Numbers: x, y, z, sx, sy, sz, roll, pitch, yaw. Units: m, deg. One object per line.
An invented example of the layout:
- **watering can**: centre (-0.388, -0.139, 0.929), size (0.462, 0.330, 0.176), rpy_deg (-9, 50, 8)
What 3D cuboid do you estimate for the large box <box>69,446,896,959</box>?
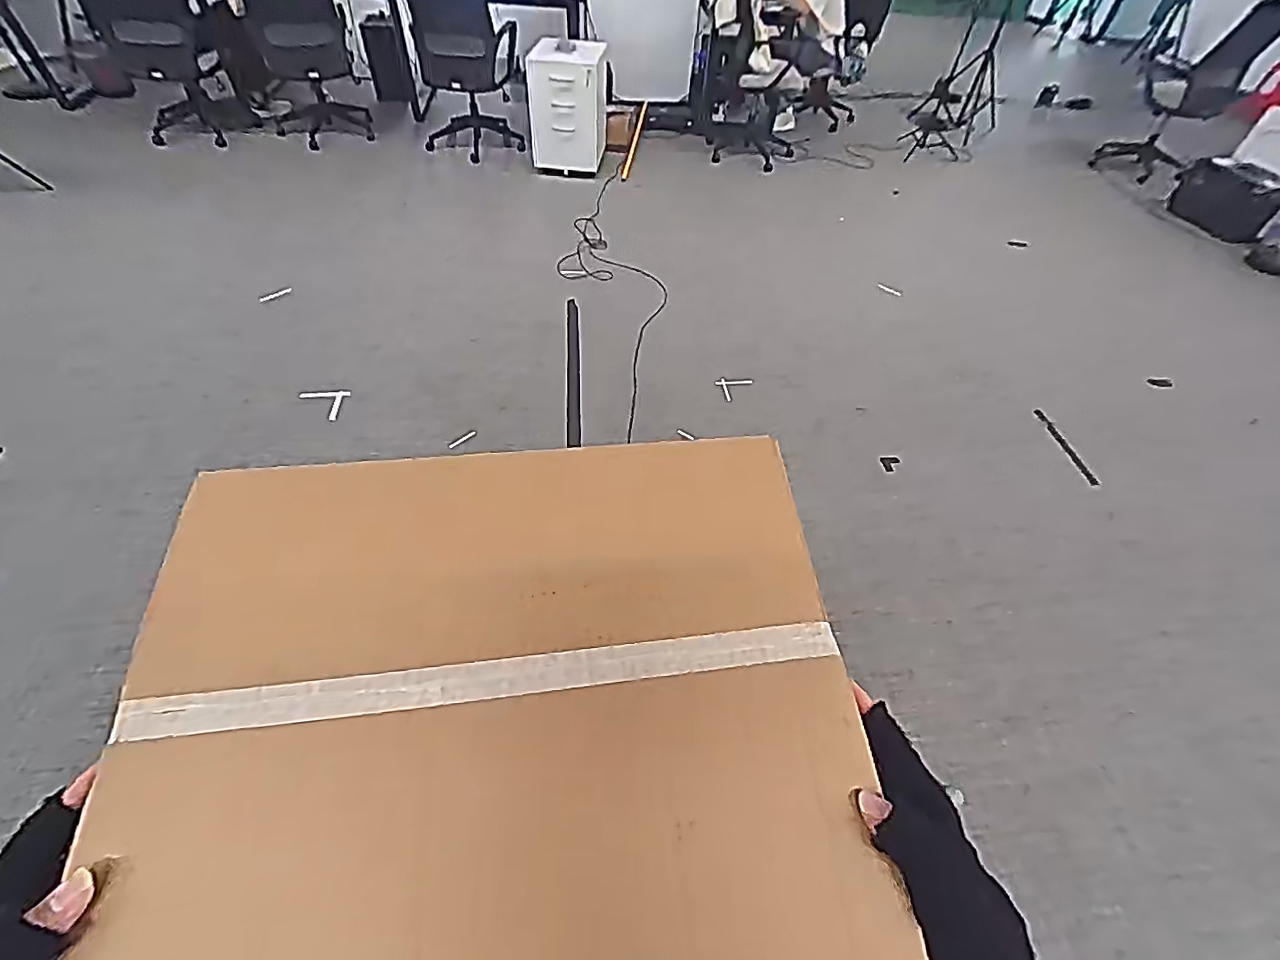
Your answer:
- **large box**: centre (-0.090, 0.196, 0.451), size (0.408, 0.320, 0.320), rpy_deg (-5, 60, -6)
